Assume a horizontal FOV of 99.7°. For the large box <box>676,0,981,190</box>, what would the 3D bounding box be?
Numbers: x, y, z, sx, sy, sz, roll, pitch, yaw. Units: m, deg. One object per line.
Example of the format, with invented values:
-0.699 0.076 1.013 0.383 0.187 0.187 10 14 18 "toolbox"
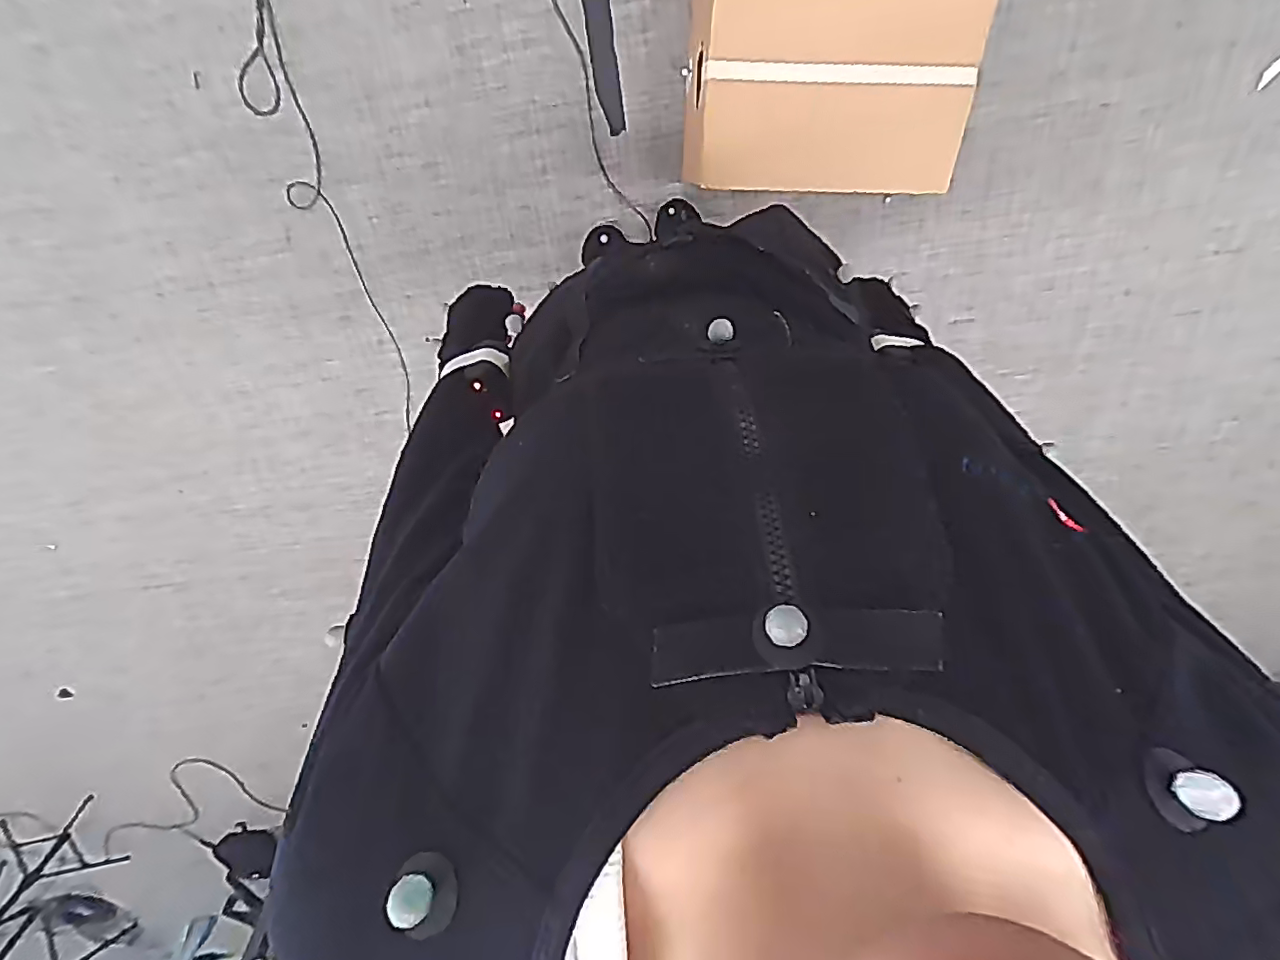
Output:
0.280 -0.687 0.928 0.408 0.320 0.320 0 120 -2 "large box"
